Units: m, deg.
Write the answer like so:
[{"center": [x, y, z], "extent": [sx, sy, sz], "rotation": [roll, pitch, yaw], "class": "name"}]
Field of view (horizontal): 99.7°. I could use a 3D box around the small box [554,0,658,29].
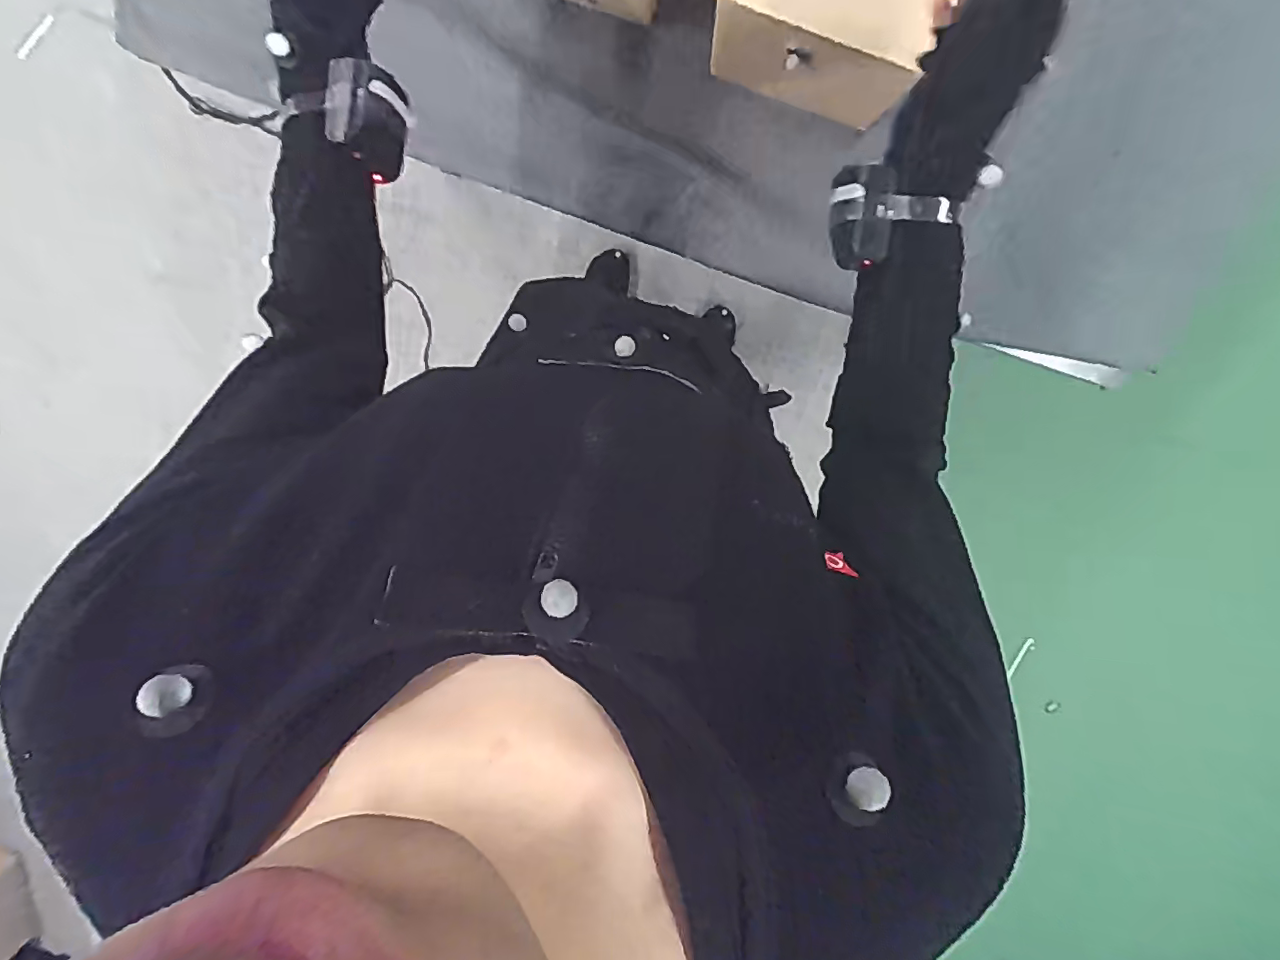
[{"center": [-0.048, -0.541, 0.457], "extent": [0.168, 0.176, 0.179], "rotation": [18, 110, -1], "class": "small box"}]
